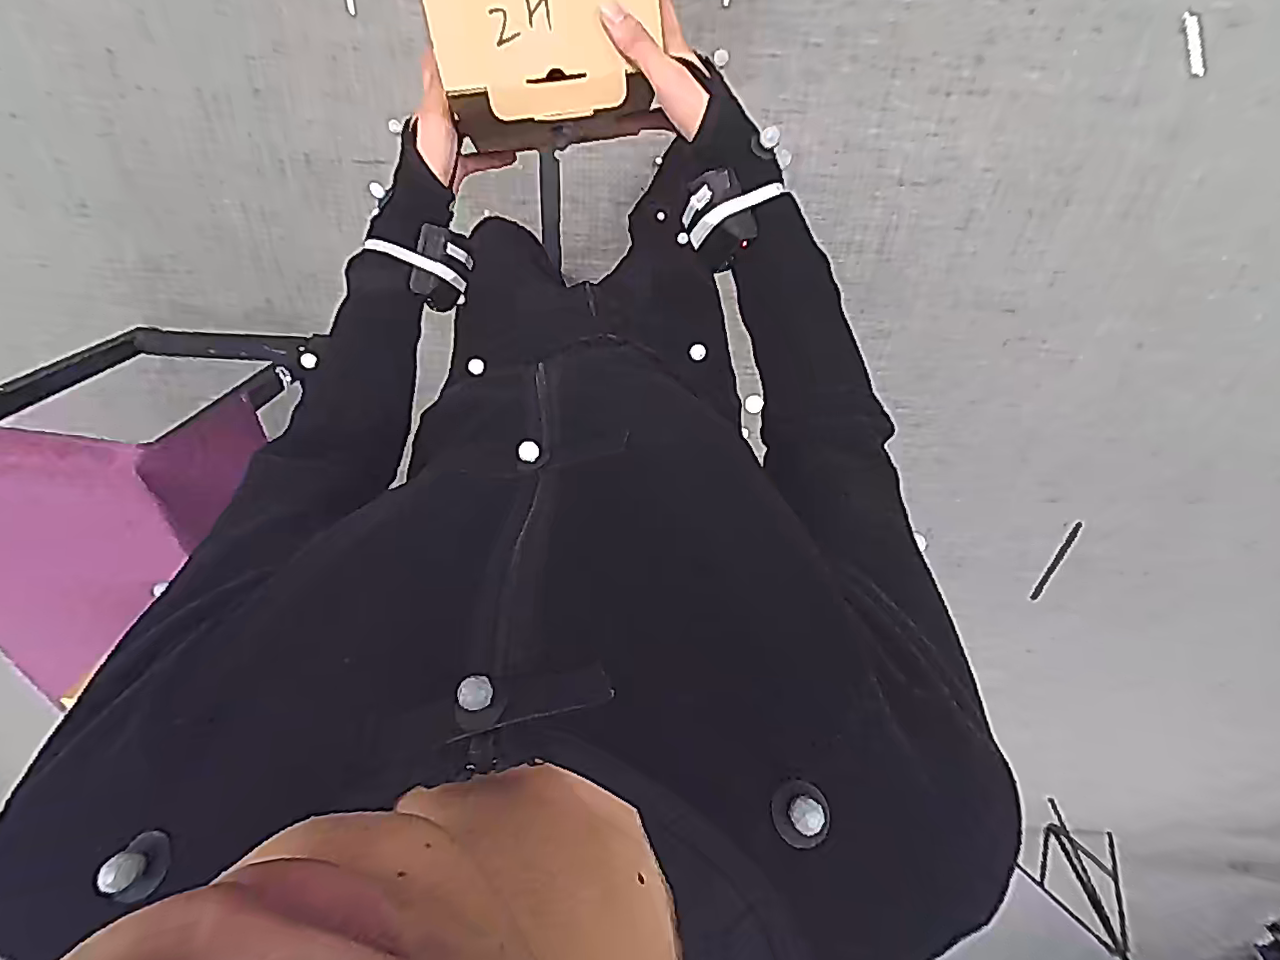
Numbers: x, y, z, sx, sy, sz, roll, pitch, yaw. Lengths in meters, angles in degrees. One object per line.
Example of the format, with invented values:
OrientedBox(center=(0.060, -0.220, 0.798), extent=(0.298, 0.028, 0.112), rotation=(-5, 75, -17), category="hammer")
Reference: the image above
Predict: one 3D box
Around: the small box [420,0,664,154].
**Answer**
OrientedBox(center=(-0.084, -0.394, 0.438), extent=(0.168, 0.176, 0.179), rotation=(-11, 108, -3), category="small box")
